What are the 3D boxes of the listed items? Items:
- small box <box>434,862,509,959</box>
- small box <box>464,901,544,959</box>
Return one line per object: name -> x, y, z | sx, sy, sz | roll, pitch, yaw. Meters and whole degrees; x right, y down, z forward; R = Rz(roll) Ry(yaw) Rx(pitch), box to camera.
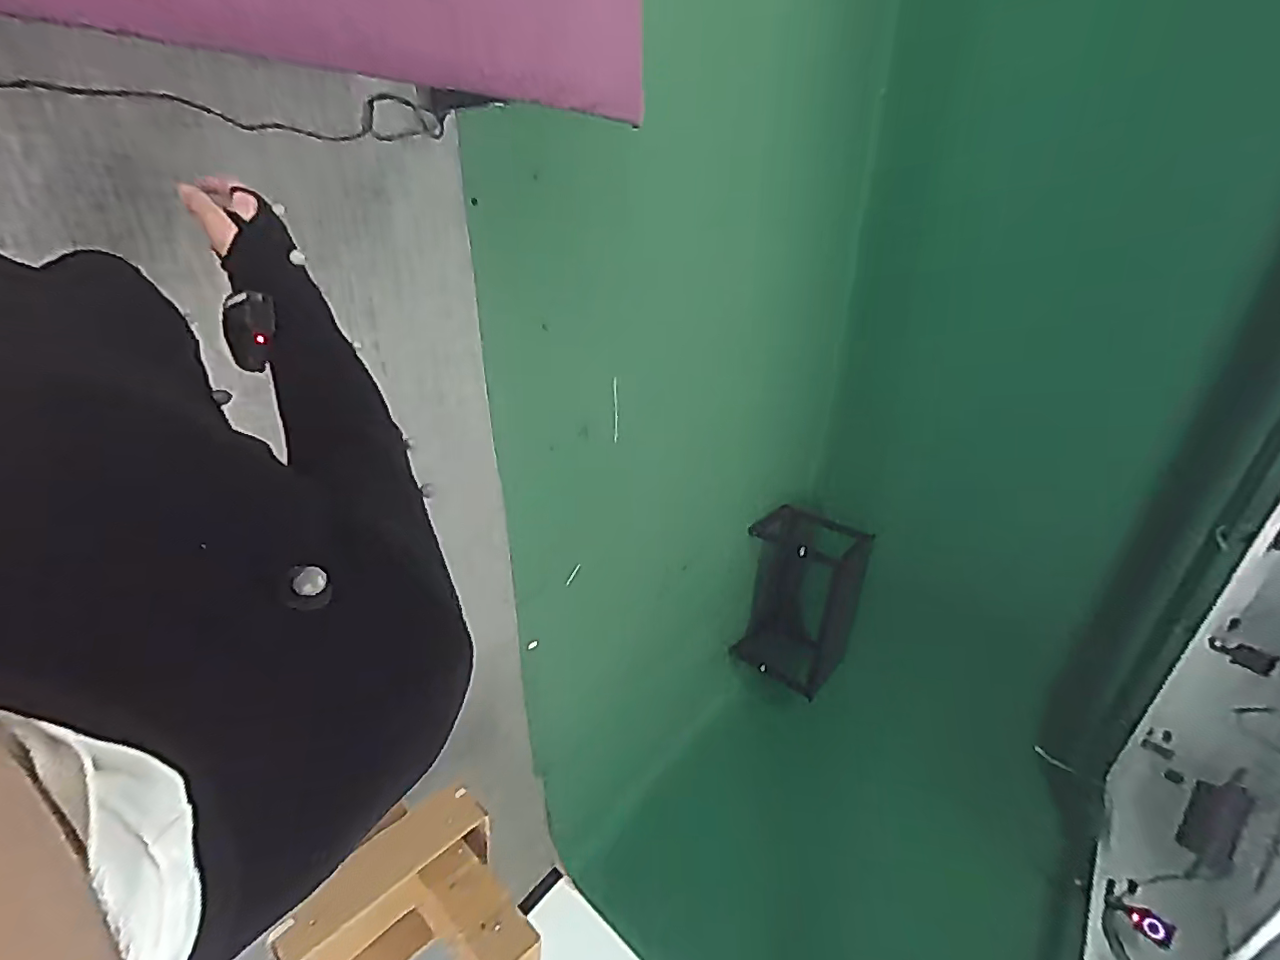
small box -> -0.530, 1.362, 1.696 | 0.168, 0.176, 0.179 | -17, 120, -47
small box -> -0.406, 1.416, 1.601 | 0.168, 0.176, 0.179 | -16, 120, -48
